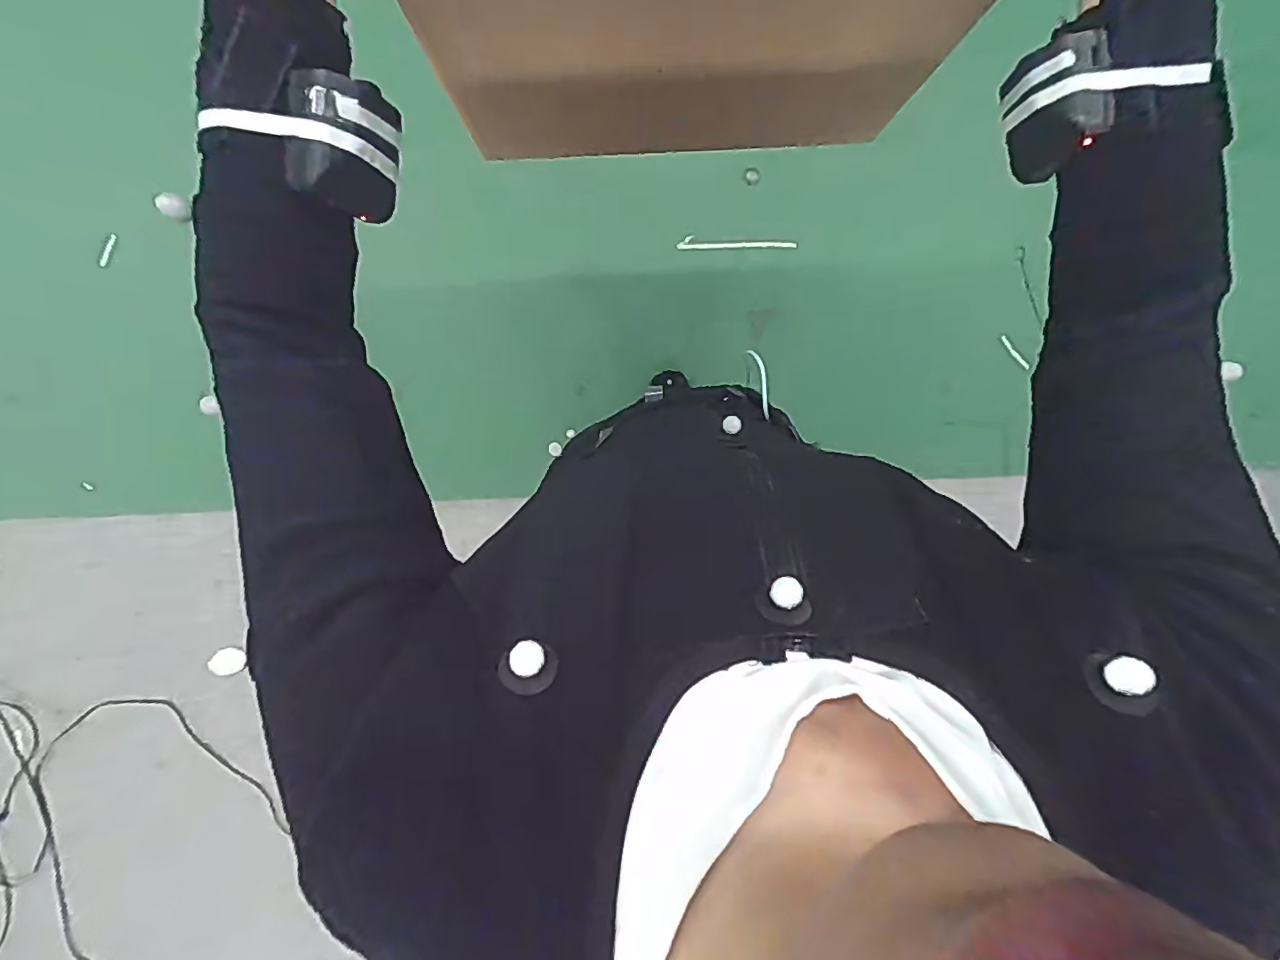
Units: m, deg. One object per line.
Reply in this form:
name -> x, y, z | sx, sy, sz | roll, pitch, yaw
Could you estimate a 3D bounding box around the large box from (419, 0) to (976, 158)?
large box -> 0.035, -0.479, 0.395 | 0.408, 0.320, 0.320 | -5, 97, -2
